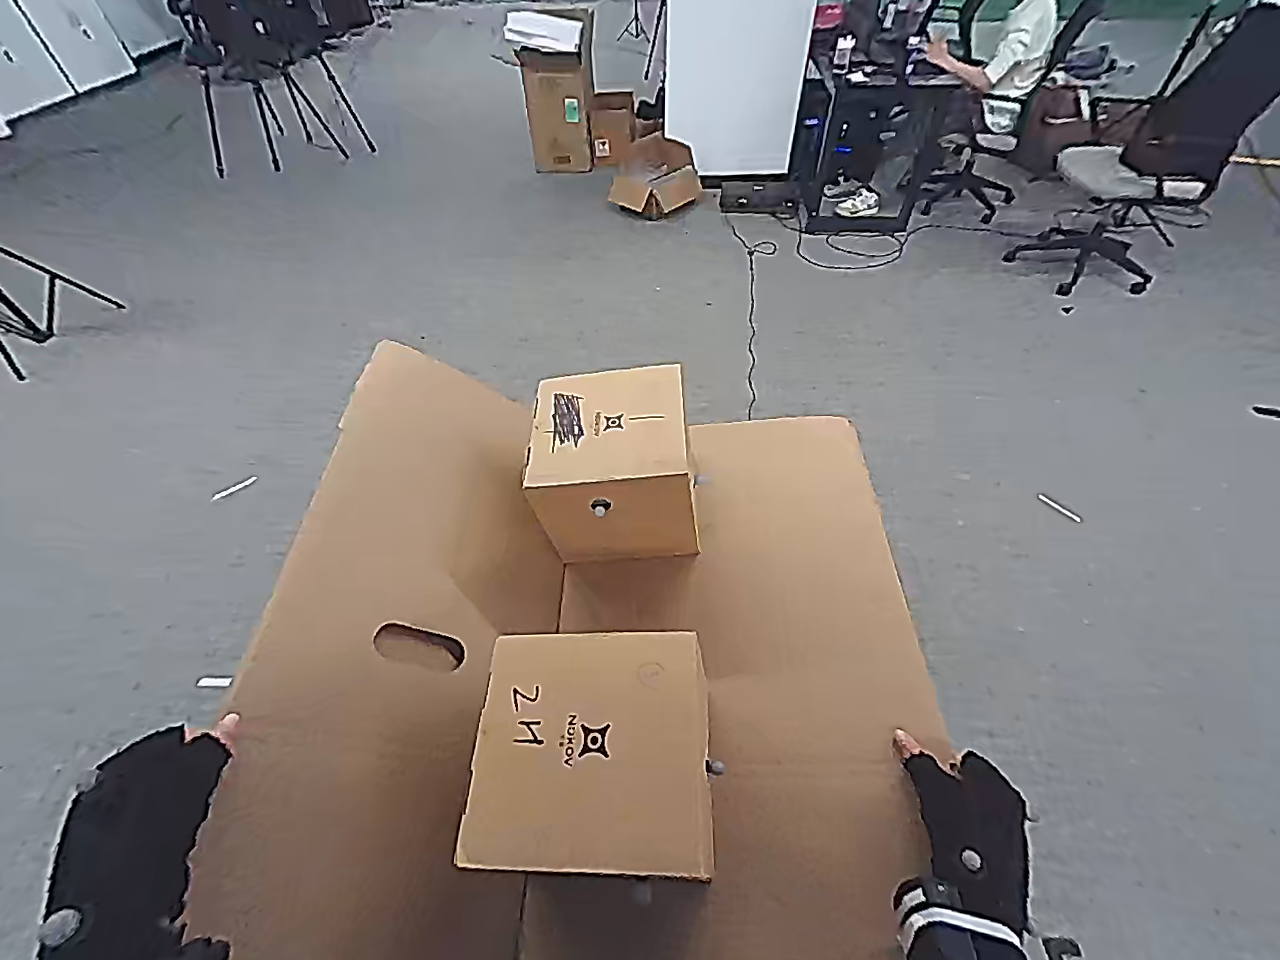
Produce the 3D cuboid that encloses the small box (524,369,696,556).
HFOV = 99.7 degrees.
[{"bbox_3d":[-0.027,-0.015,0.681,0.179,0.176,0.168,-5,53,7],"label":"small box"}]
